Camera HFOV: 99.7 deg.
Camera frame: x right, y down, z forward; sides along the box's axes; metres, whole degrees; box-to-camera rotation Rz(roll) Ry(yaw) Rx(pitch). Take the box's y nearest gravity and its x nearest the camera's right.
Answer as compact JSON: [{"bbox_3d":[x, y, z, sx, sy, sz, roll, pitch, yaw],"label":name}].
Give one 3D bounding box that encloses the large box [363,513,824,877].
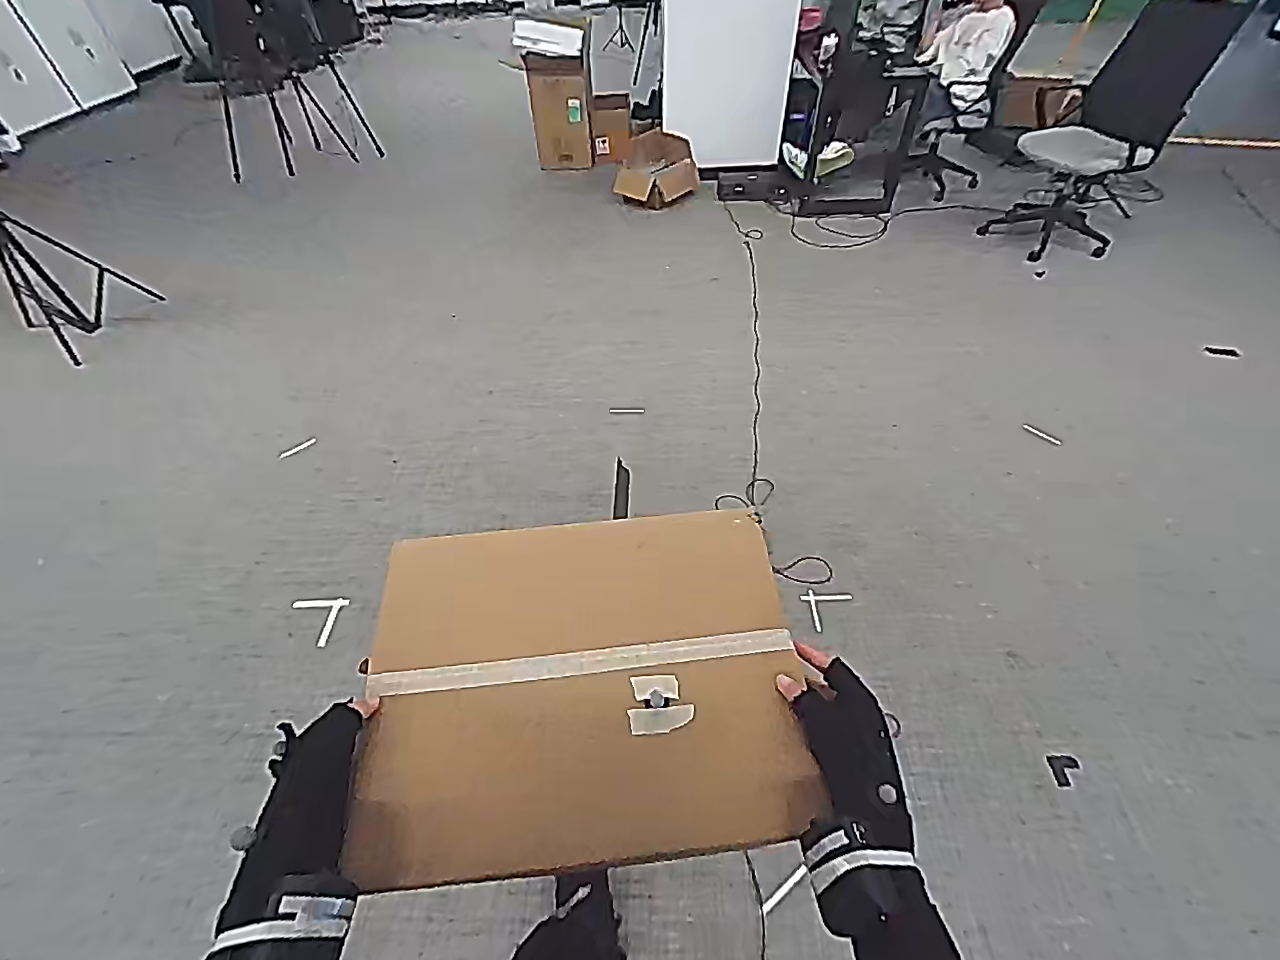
[{"bbox_3d":[-0.052,0.269,0.662,0.408,0.320,0.320,-5,55,-3],"label":"large box"}]
